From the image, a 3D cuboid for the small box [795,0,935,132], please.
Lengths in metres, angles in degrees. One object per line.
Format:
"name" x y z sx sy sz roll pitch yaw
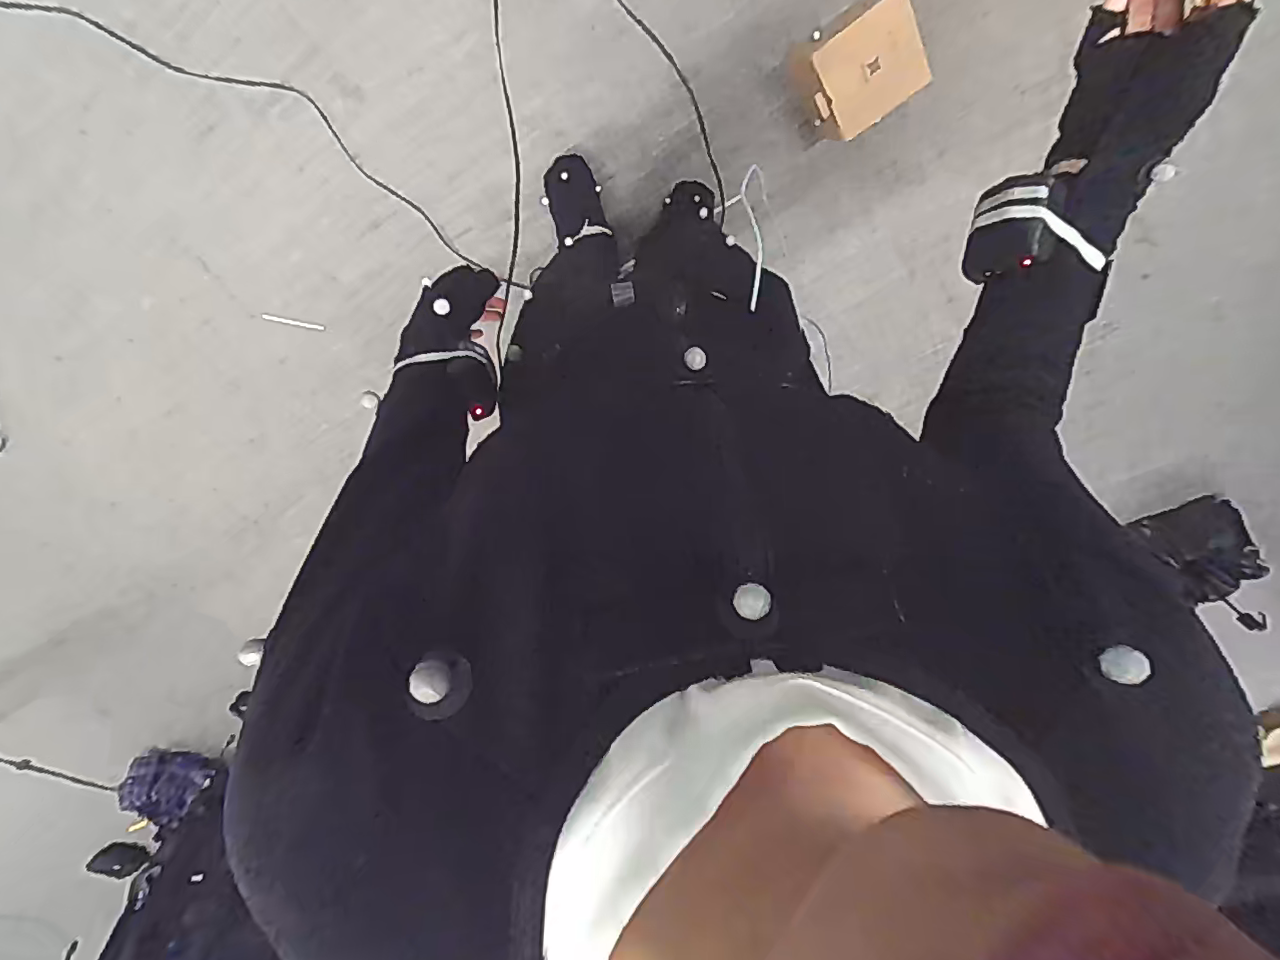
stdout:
"small box" 0.409 -0.793 1.015 0.179 0.176 0.168 -31 123 18
